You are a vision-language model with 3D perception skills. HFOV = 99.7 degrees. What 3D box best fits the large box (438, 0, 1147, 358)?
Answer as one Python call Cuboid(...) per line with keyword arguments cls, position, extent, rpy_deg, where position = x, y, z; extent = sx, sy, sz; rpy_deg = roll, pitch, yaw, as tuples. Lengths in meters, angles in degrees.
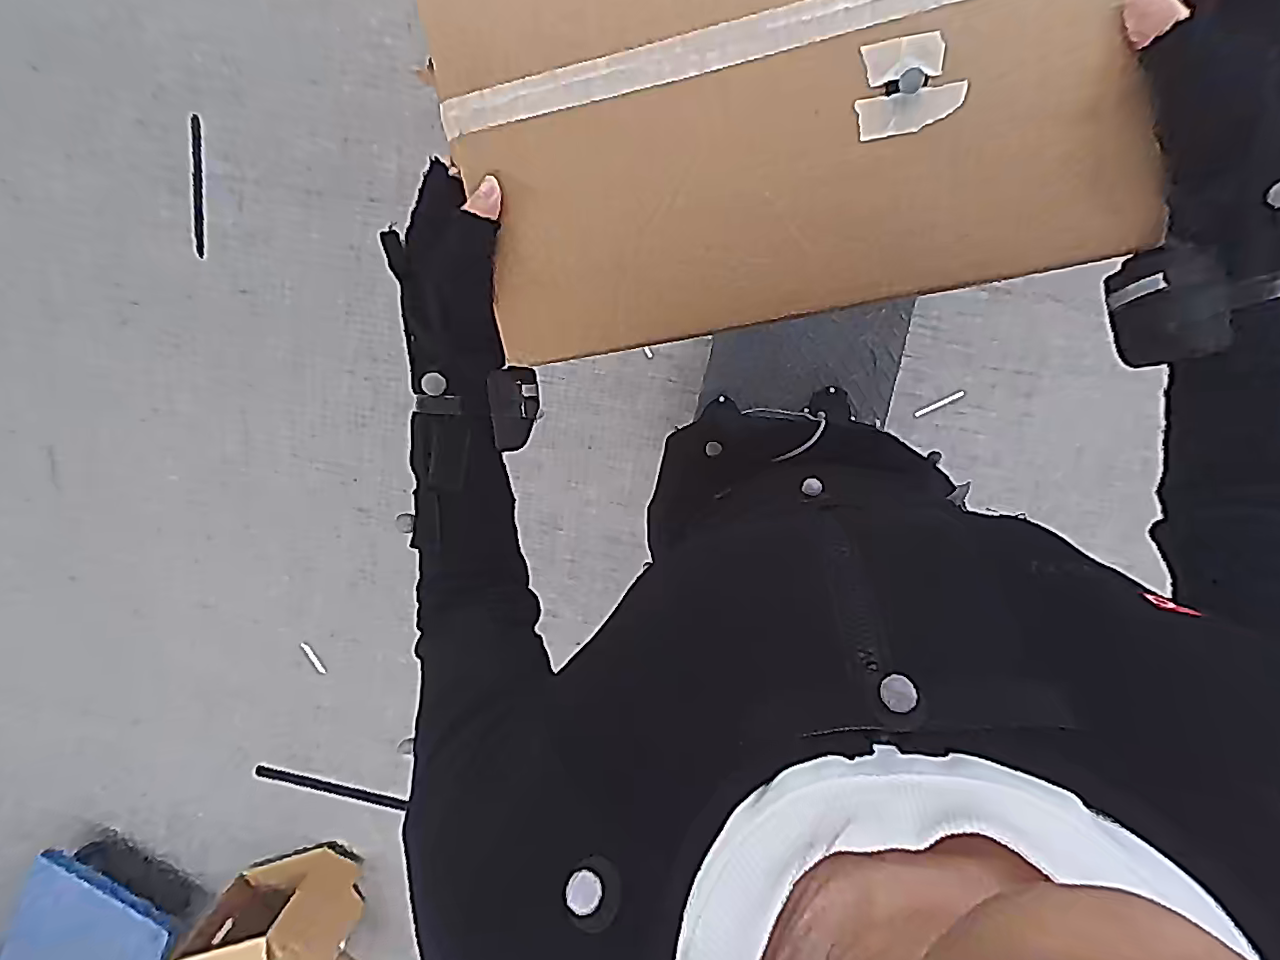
Cuboid(cls="large box", position=(0.096, -0.301, 0.466), extent=(0.408, 0.320, 0.320), rpy_deg=(-9, 105, 8))
